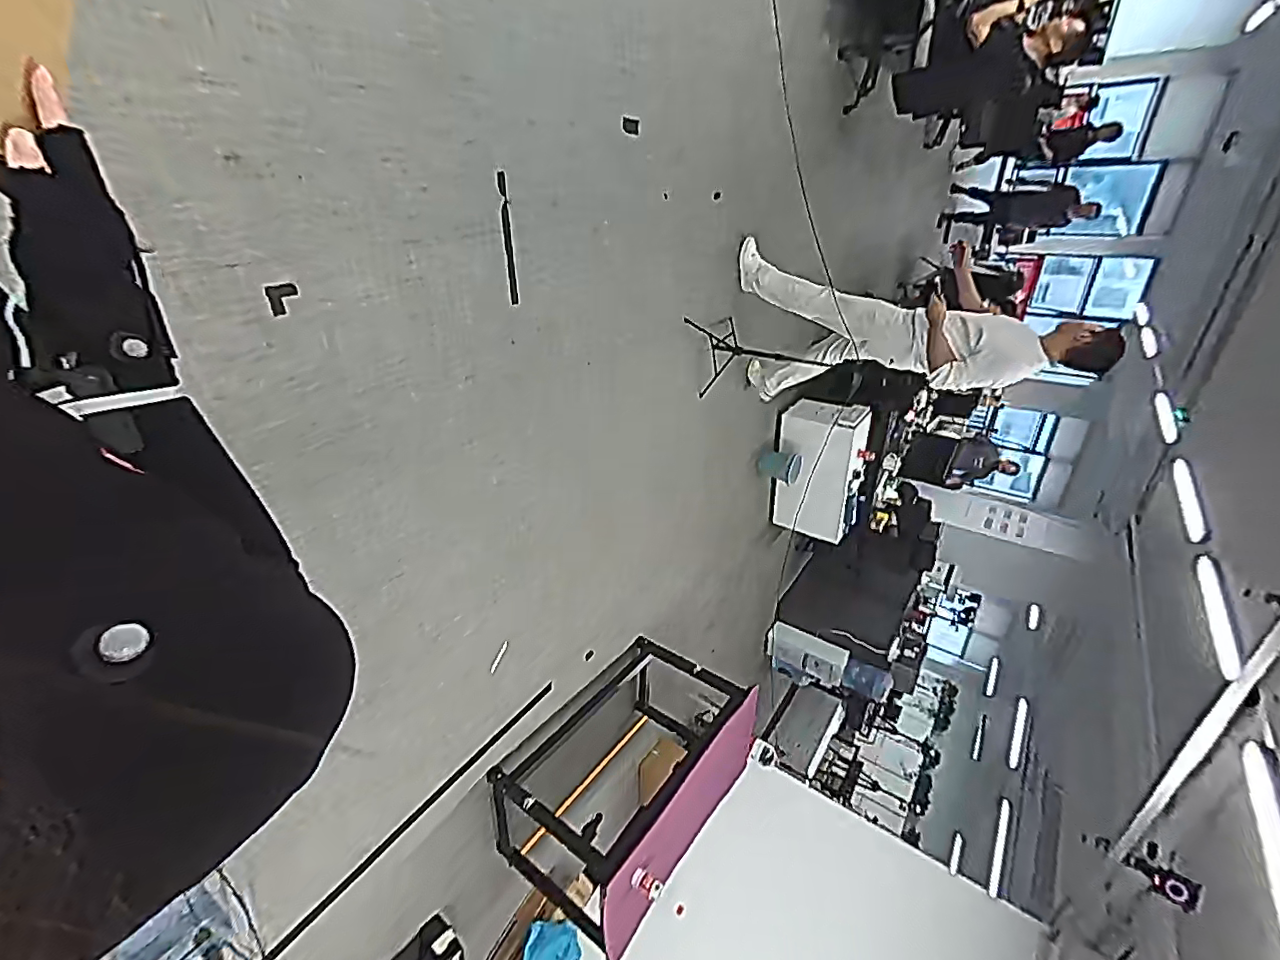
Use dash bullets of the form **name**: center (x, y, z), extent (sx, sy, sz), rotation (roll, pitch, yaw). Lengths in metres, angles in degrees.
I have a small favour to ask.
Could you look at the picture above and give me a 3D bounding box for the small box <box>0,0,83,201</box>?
- **small box**: center (-0.447, -0.274, 0.272), extent (0.179, 0.168, 0.176), rotation (157, -65, -83)
